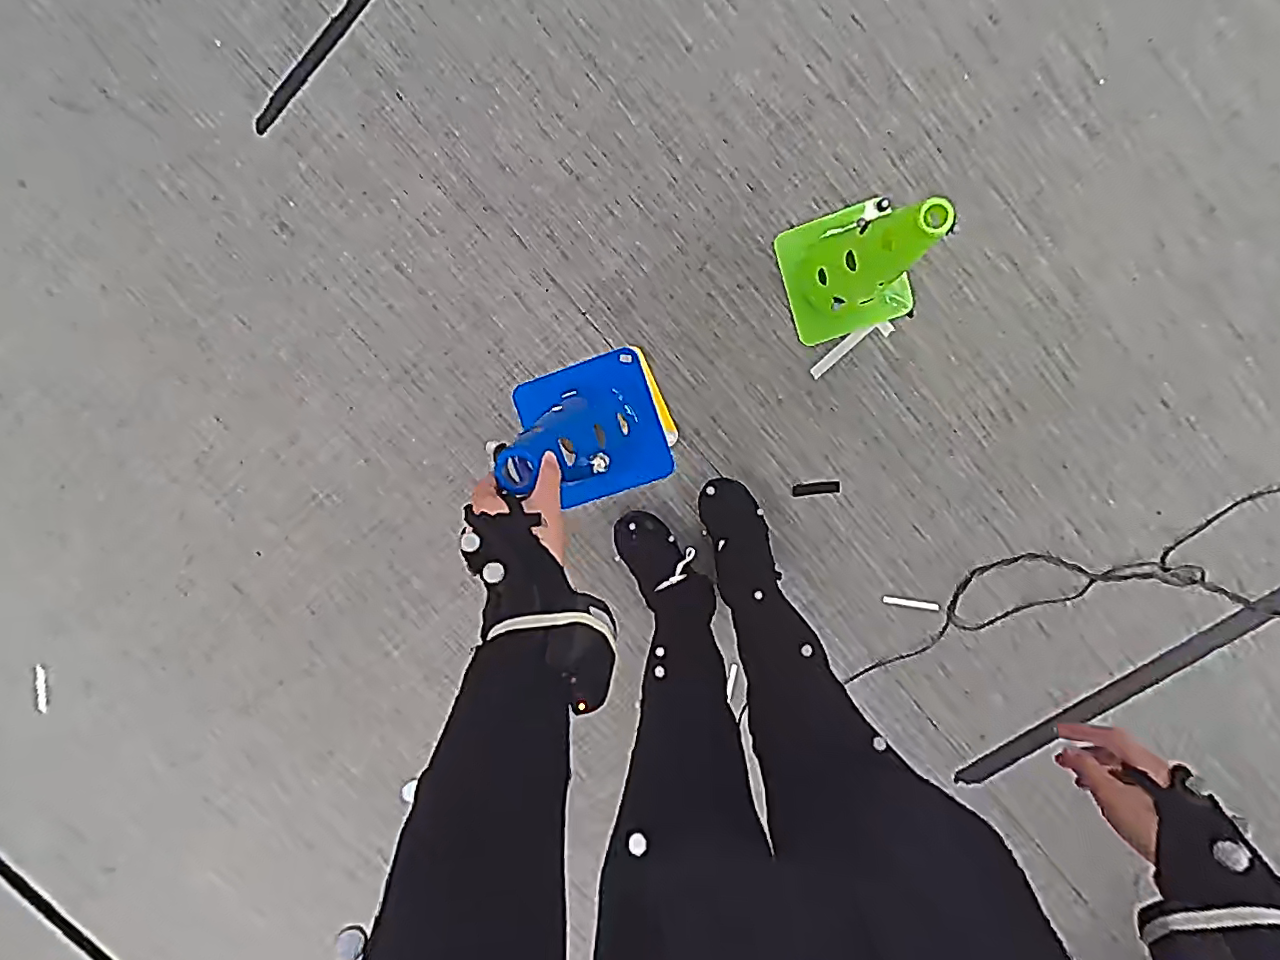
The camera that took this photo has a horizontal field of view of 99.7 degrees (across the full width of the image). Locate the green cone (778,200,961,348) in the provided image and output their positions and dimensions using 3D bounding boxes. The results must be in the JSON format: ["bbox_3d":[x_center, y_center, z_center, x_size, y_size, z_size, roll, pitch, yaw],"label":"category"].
[{"bbox_3d":[0.338,-0.314,0.761,0.200,0.368,0.202,-18,100,9],"label":"green cone"}]
